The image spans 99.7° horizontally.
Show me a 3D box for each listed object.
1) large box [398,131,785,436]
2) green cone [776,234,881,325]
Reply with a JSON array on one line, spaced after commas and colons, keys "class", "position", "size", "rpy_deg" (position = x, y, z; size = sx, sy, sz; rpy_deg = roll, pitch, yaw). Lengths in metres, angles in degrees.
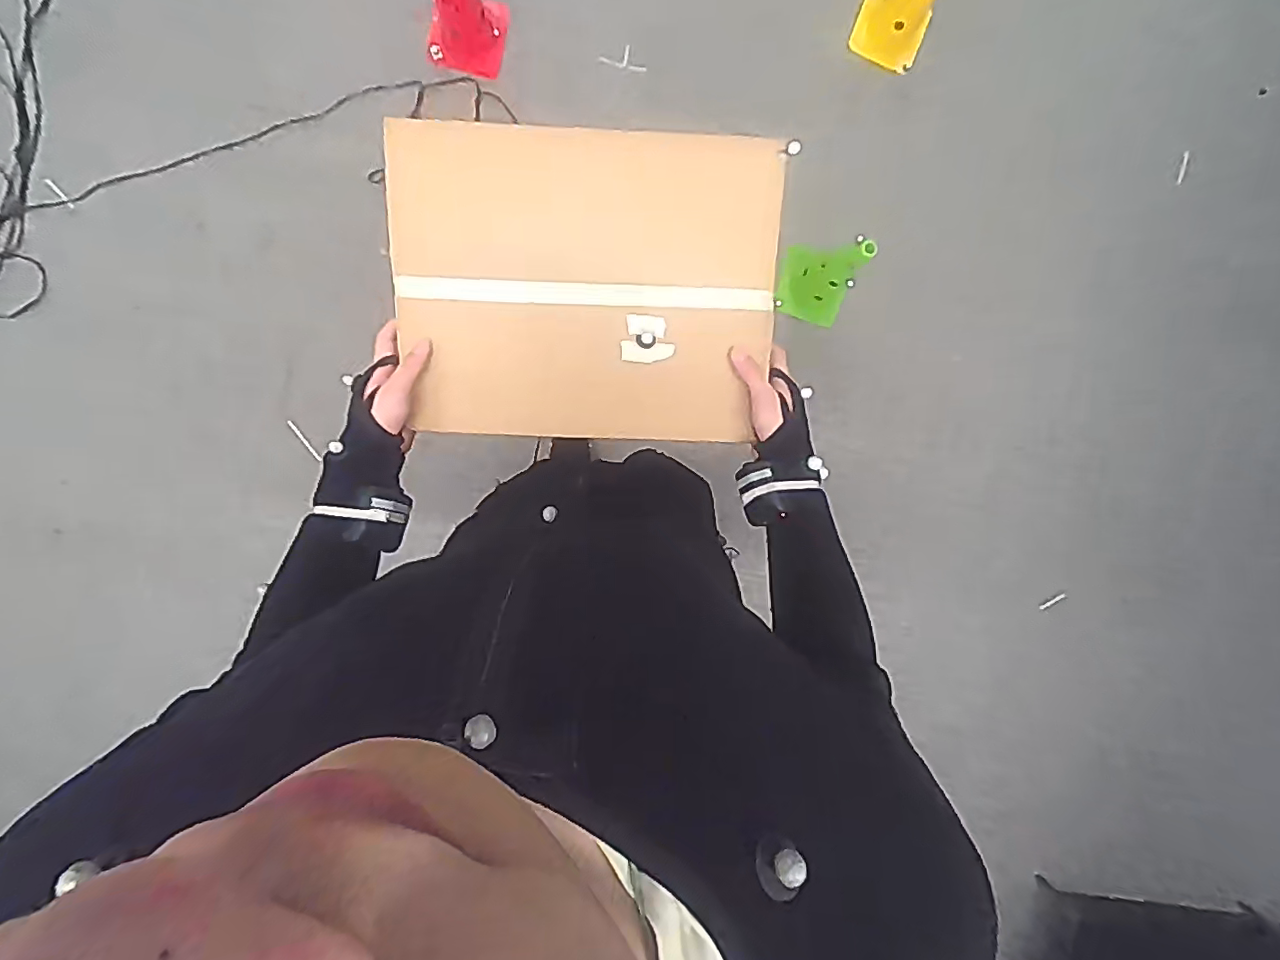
[{"class": "large box", "position": [-0.057, -0.237, 0.732], "size": [0.408, 0.320, 0.320], "rpy_deg": [1, 105, -2]}, {"class": "green cone", "position": [0.536, -0.570, 1.447], "size": [0.200, 0.368, 0.202], "rpy_deg": [16, 93, -6]}]
